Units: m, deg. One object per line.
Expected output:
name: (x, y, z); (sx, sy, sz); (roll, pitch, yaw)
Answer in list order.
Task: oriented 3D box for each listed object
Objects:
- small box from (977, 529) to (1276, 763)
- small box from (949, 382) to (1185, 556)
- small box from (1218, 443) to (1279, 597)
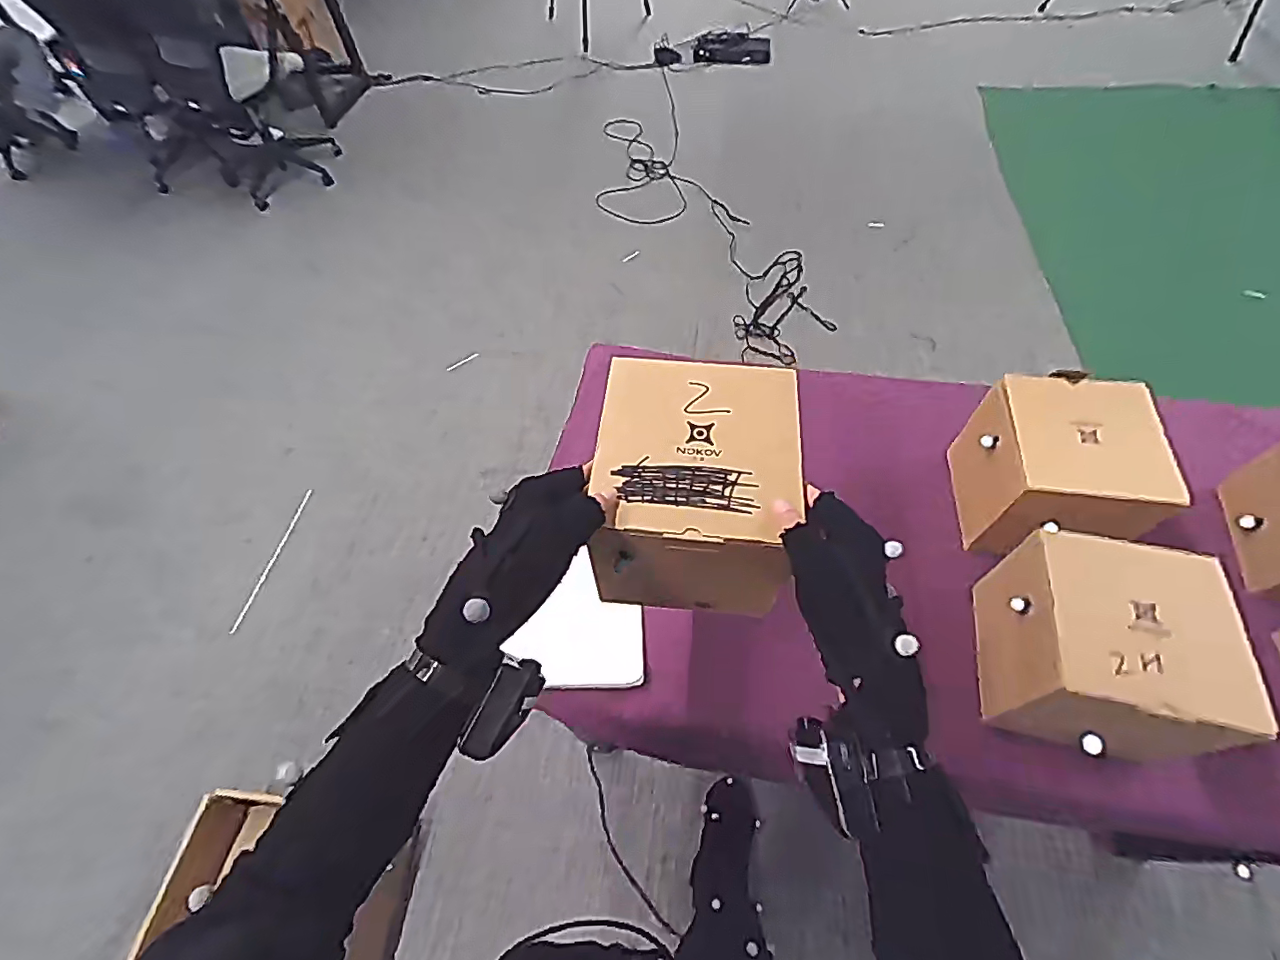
small box: (0.488, 0.182, 0.584); (0.168, 0.176, 0.179); (11, 57, 12)
small box: (0.534, -0.004, 0.710); (0.168, 0.176, 0.179); (6, 56, 9)
small box: (0.862, 0.052, 0.642); (0.168, 0.176, 0.179); (12, 58, 12)
